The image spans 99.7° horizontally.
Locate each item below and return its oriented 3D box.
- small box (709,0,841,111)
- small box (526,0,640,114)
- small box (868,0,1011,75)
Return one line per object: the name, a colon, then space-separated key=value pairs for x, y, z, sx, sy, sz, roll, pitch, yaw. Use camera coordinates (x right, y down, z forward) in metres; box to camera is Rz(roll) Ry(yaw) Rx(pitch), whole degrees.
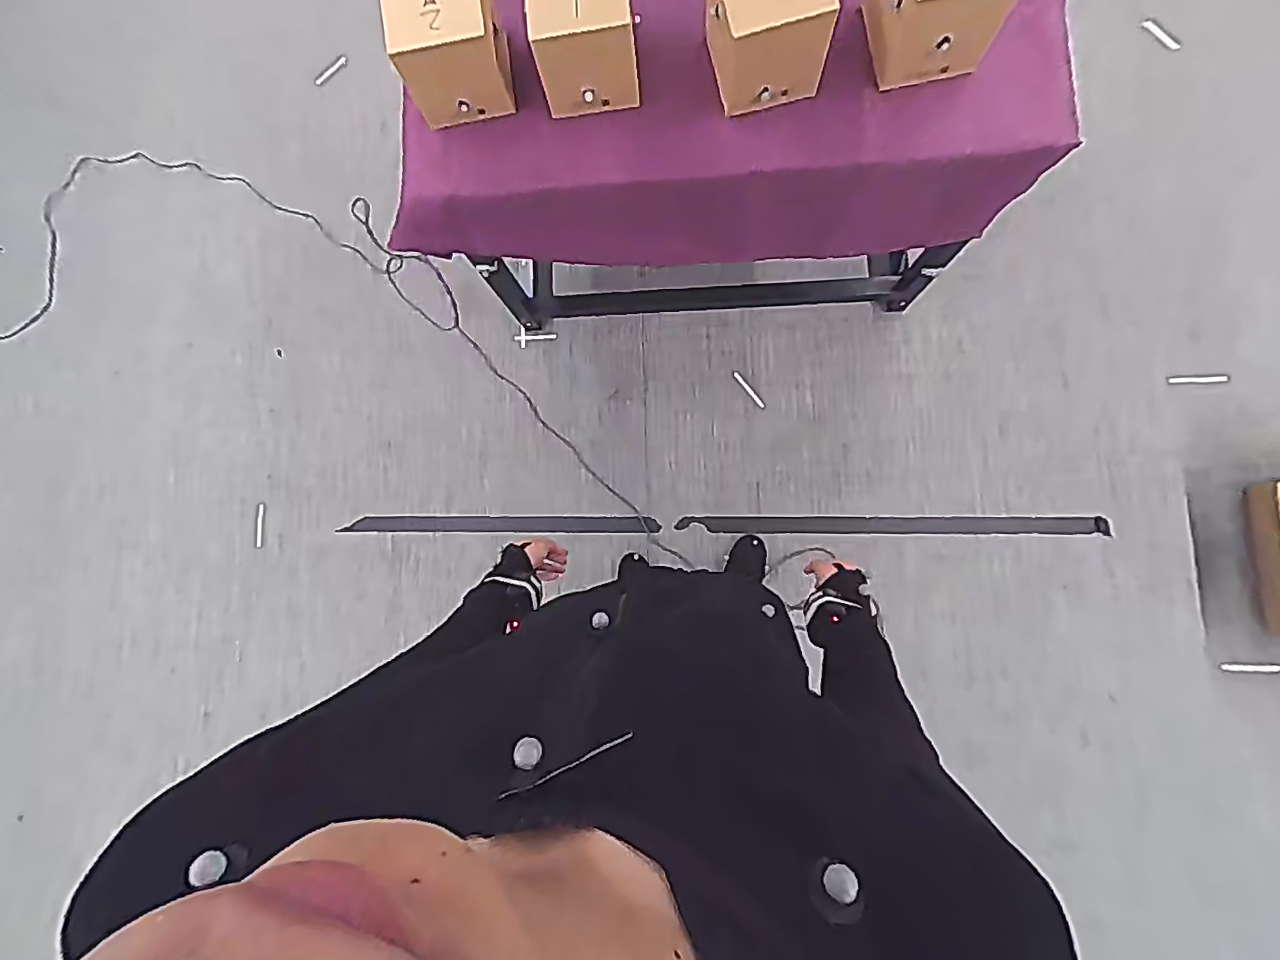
small box: x=0.211 y=-0.764 z=0.893 sx=0.168 sy=0.176 sz=0.179 roll=-12 pitch=83 yaw=5
small box: x=-0.094 y=-0.774 z=0.922 sx=0.168 sy=0.176 sz=0.179 roll=-6 pitch=85 yaw=5
small box: x=0.485 y=-0.794 z=0.867 sx=0.168 sy=0.176 sz=0.179 roll=-8 pitch=83 yaw=5
